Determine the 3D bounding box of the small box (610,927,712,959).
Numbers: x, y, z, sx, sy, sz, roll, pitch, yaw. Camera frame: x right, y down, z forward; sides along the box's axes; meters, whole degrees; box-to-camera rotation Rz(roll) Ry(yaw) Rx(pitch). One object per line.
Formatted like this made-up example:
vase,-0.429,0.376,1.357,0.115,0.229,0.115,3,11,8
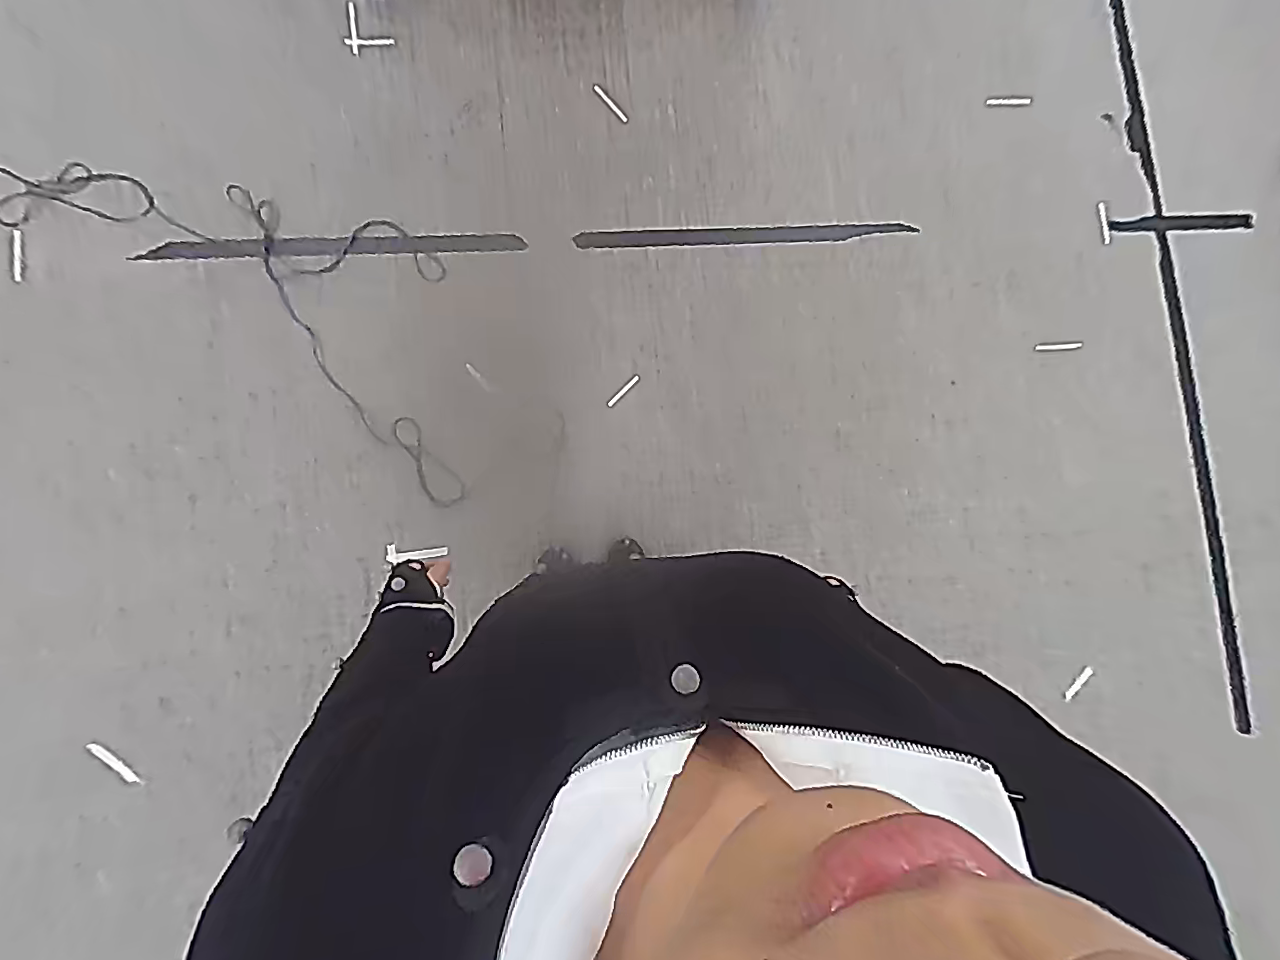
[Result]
small box,0.040,0.868,0.873,0.168,0.176,0.179,-2,83,-7
